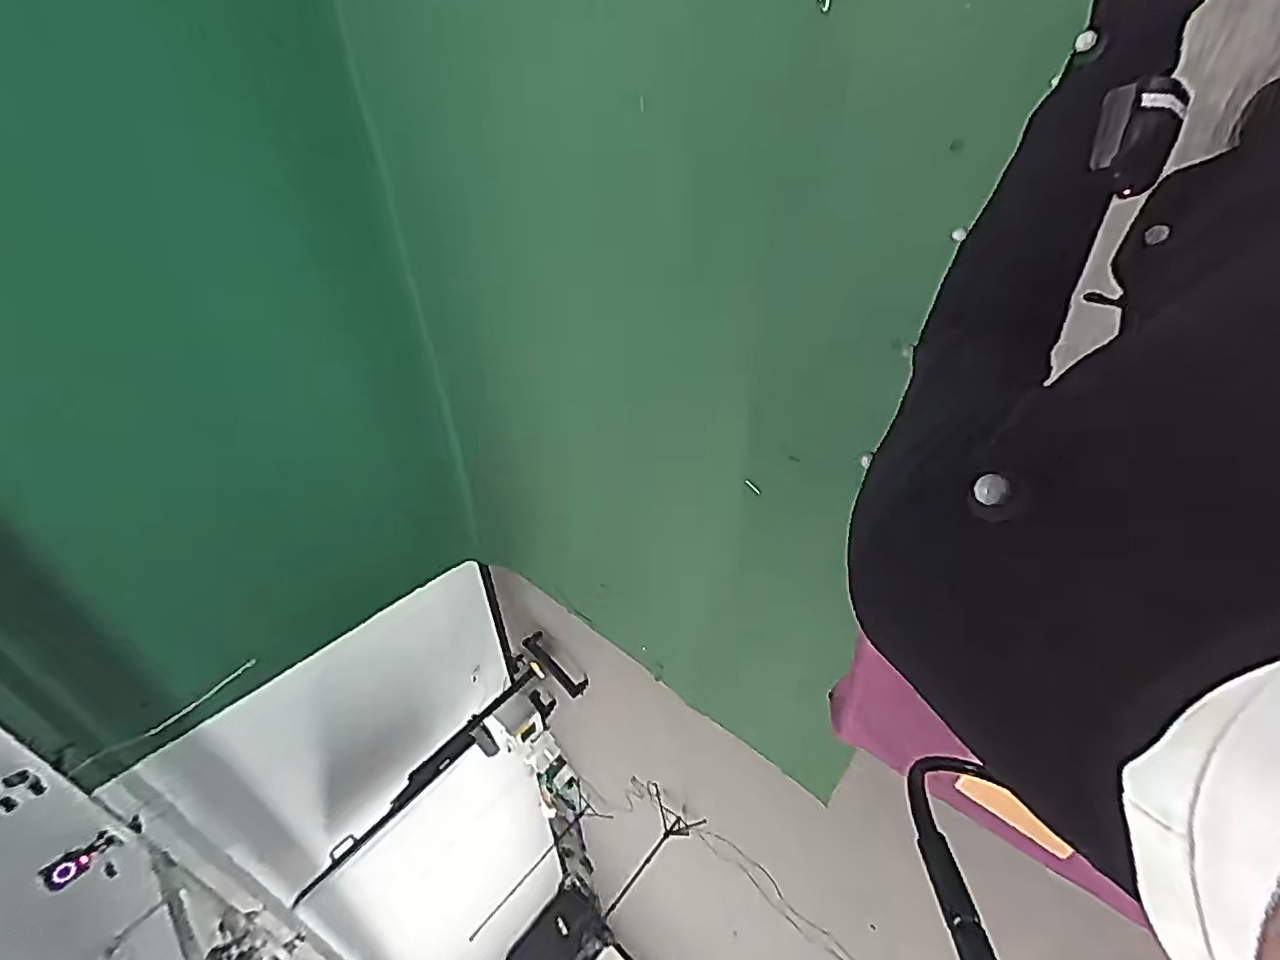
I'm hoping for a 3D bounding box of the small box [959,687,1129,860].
[{"bbox_3d":[0.691,0.489,0.930,0.179,0.176,0.168,27,133,29],"label":"small box"}]
